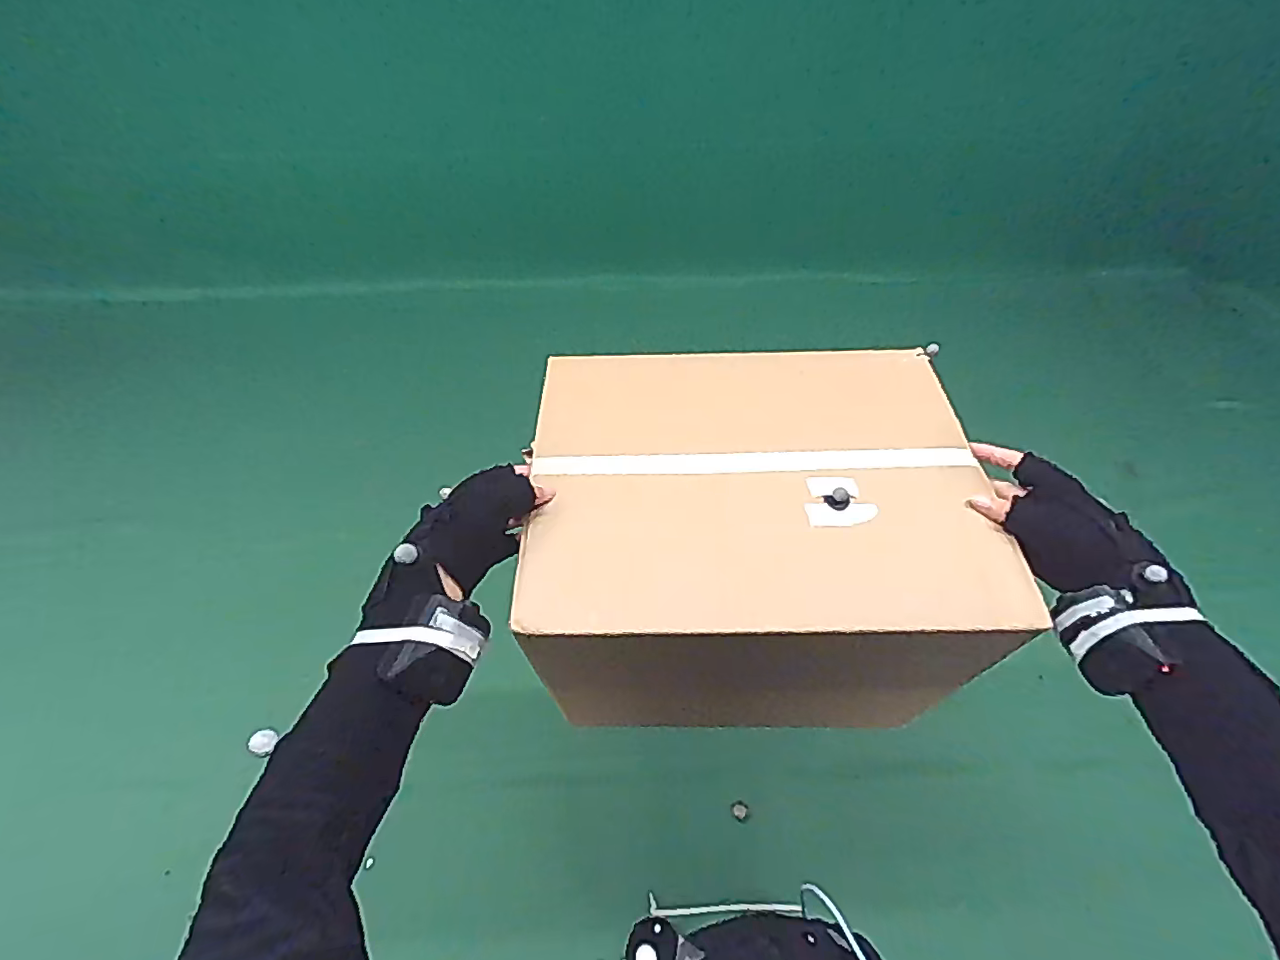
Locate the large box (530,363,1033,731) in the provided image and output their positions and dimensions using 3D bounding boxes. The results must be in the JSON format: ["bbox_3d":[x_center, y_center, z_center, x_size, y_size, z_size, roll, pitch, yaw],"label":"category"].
[{"bbox_3d":[0.109,0.086,0.627,0.408,0.320,0.320,-1,53,1],"label":"large box"}]
